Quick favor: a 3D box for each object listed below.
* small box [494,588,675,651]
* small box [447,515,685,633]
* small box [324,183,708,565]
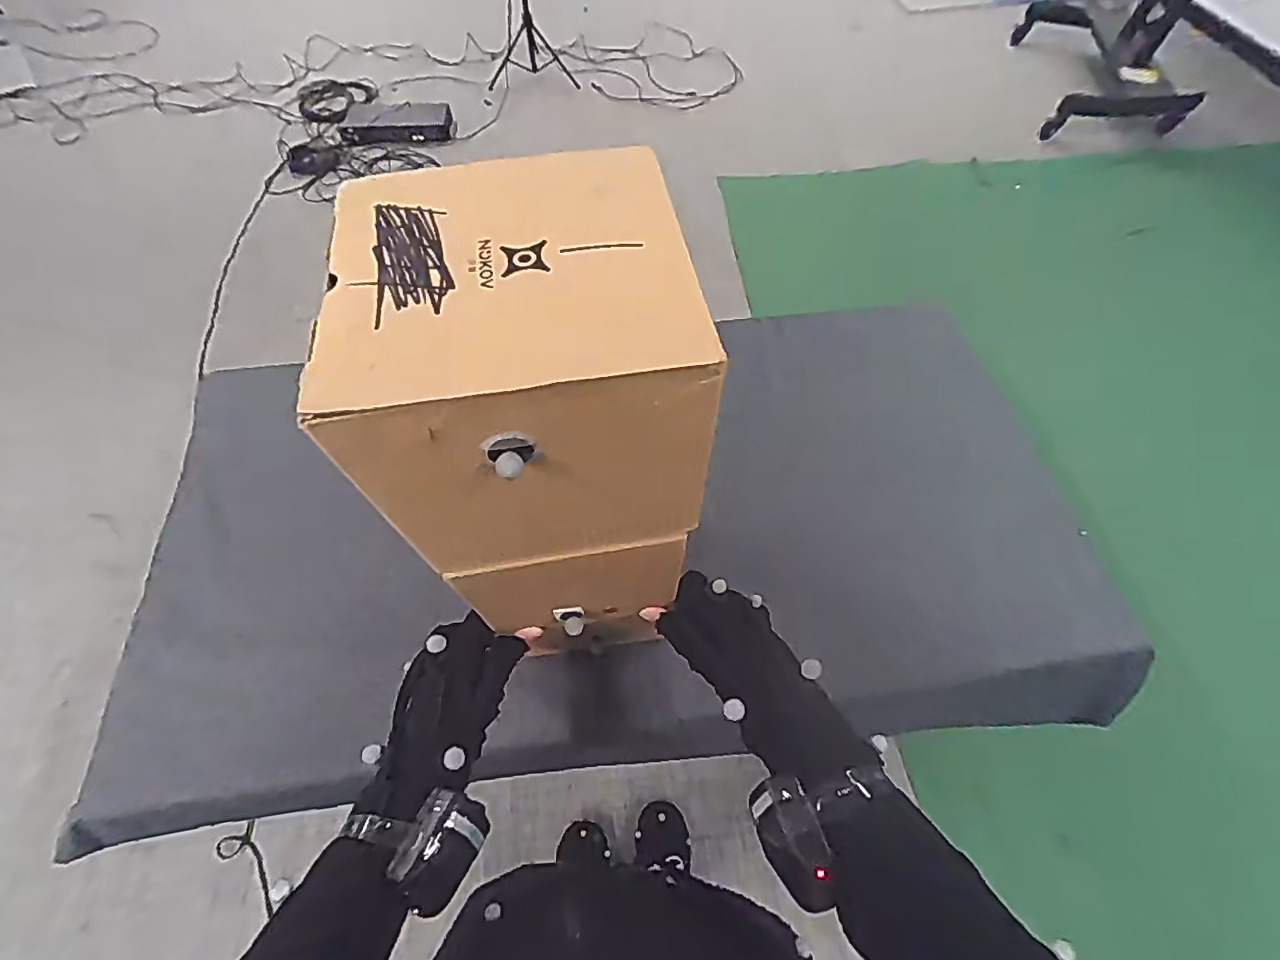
[{"bbox_3d":[-0.065,0.088,0.623,0.179,0.176,0.168,-7,60,-5],"label":"small box"},{"bbox_3d":[-0.063,0.017,0.477,0.168,0.176,0.179,-10,61,-5],"label":"small box"},{"bbox_3d":[-0.064,-0.056,0.348,0.179,0.176,0.168,-9,61,-5],"label":"small box"}]
